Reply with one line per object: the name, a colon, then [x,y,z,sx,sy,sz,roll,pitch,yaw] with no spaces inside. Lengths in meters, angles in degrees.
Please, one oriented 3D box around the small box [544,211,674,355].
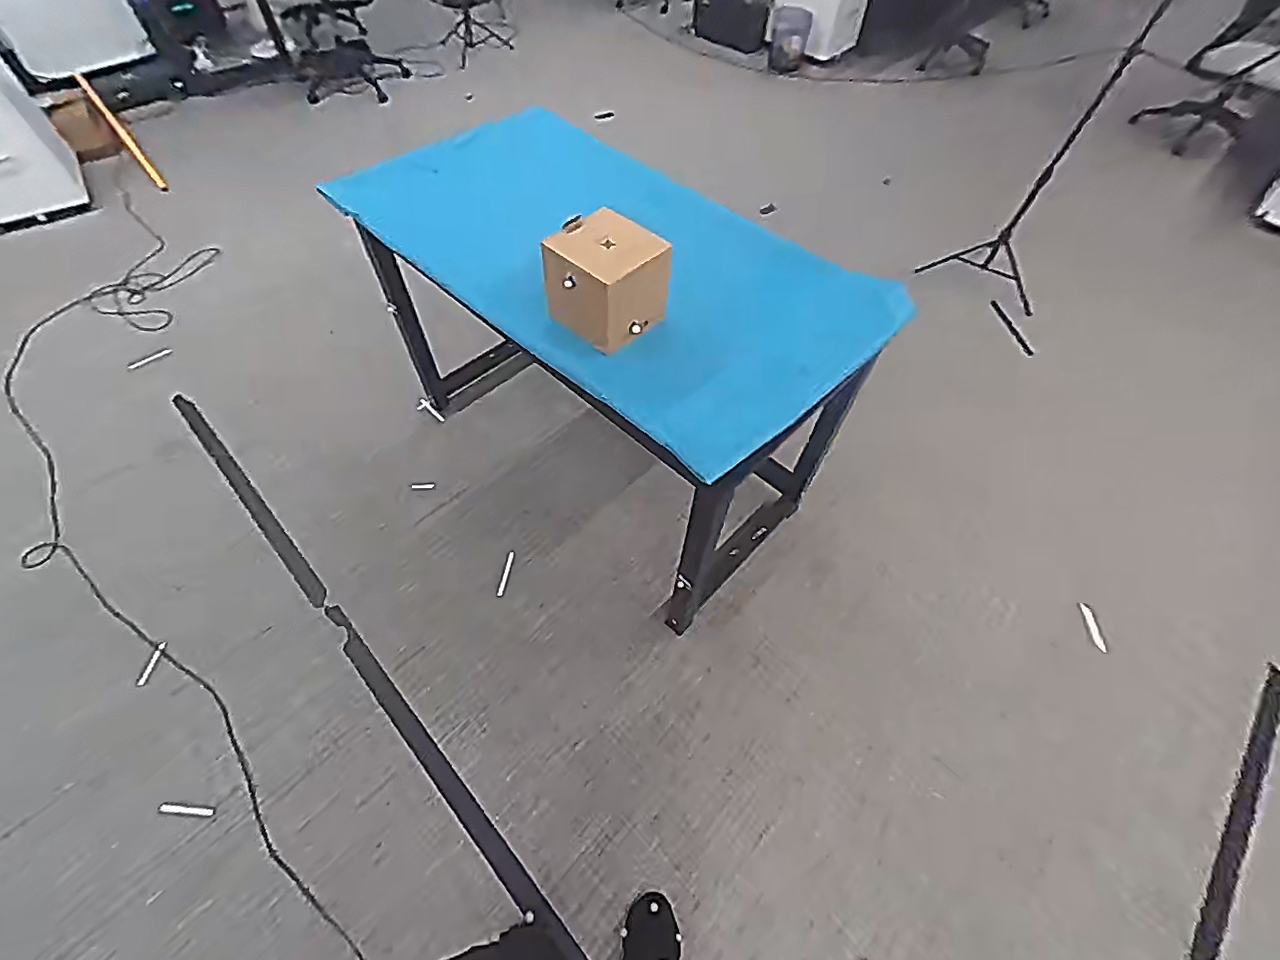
small box: [-0.058,-0.369,1.026,0.179,0.176,0.168,39,64,22]
